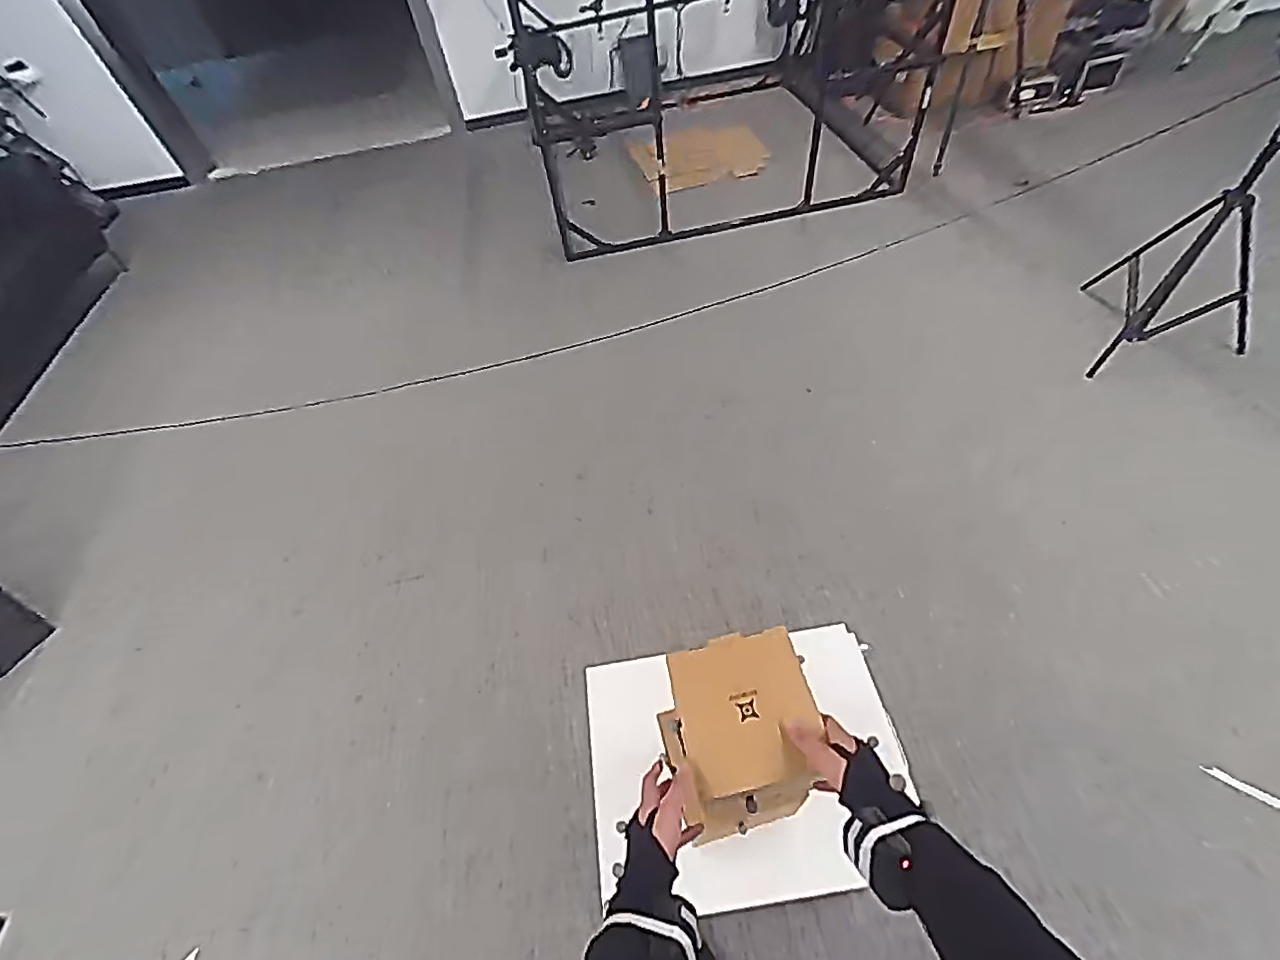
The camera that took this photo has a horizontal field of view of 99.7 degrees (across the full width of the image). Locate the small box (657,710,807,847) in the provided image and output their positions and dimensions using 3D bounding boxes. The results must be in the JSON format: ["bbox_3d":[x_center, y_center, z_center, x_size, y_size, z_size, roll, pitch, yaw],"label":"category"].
[{"bbox_3d":[0.137,0.449,0.842,0.179,0.176,0.168,-15,51,-5],"label":"small box"}]

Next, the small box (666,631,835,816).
[{"bbox_3d":[0.139,0.332,0.726,0.168,0.176,0.179,-13,50,-3],"label":"small box"}]
